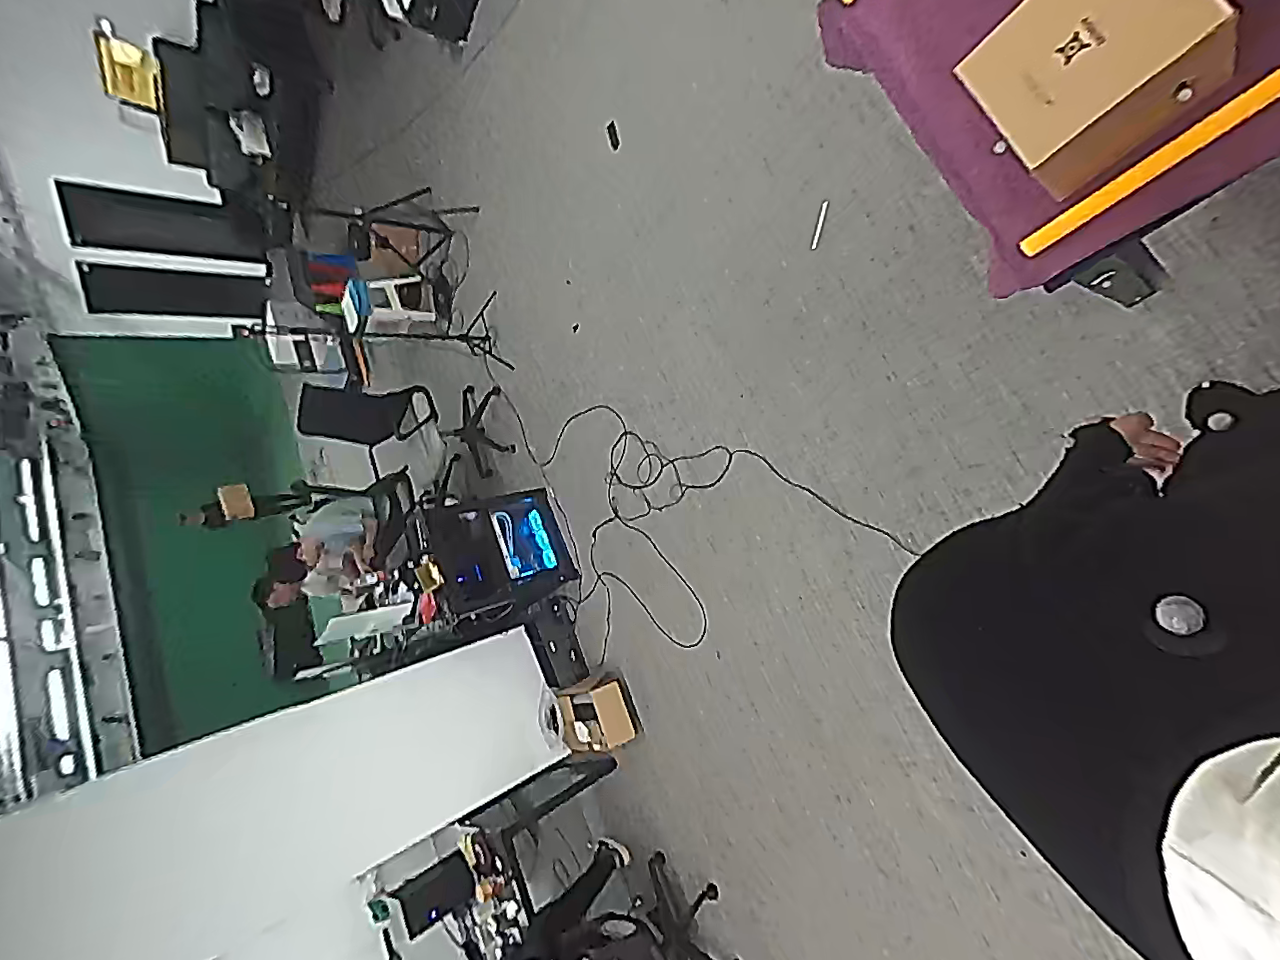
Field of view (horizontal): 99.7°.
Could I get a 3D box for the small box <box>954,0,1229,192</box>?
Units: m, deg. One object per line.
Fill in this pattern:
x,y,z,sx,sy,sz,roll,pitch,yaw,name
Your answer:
0.508,-0.473,0.621,0.179,0.176,0.168,-37,71,44,small box
